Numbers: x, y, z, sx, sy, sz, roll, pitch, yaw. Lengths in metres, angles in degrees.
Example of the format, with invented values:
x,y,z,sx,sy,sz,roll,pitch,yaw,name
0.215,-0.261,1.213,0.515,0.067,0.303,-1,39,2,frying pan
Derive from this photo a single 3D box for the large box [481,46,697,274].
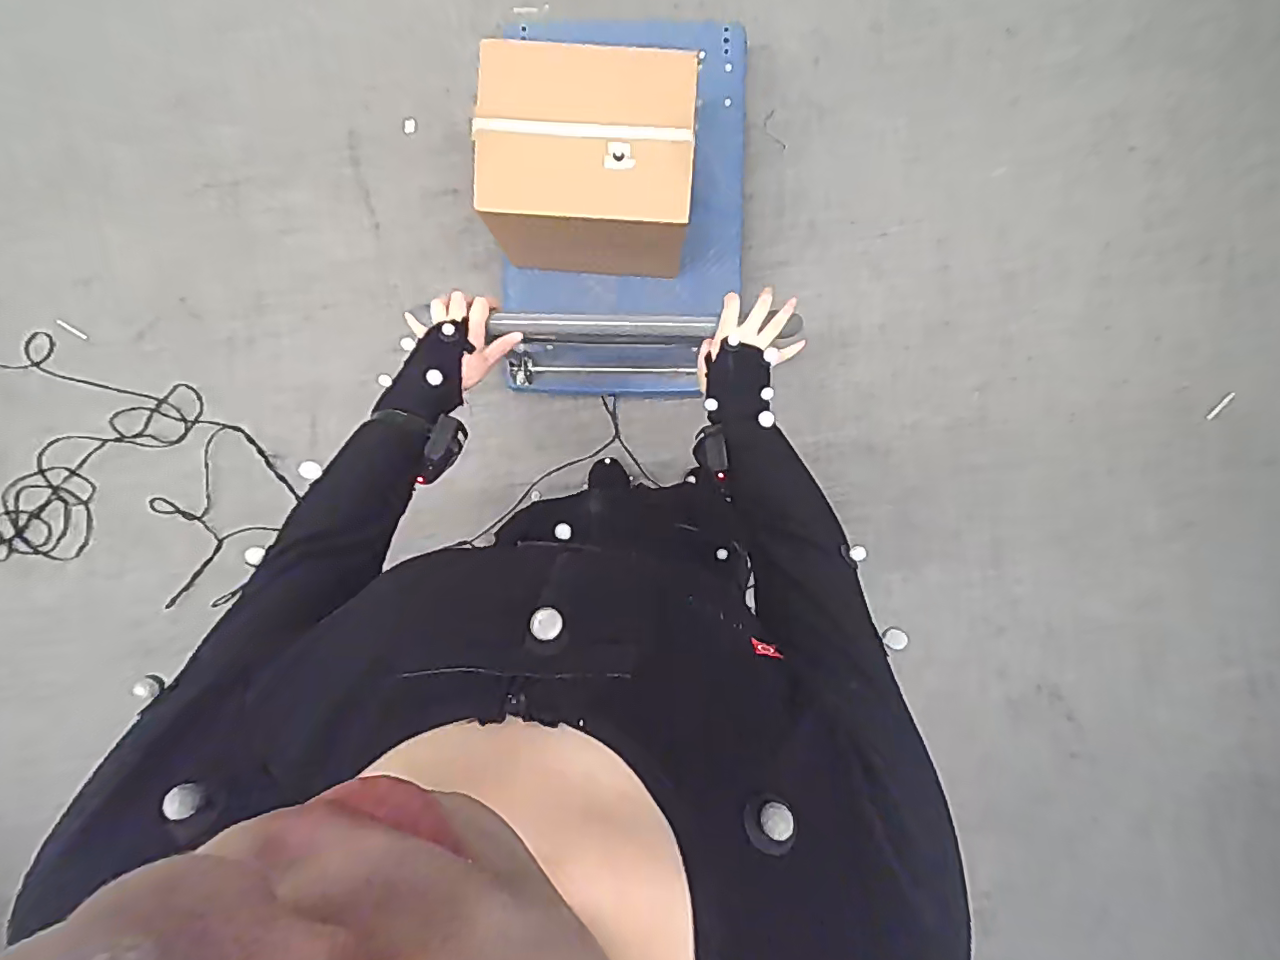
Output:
x,y,z,sx,sy,sz,roll,pitch,yaw,name
-0.101,-0.657,1.166,0.408,0.320,0.320,3,93,-1,large box
